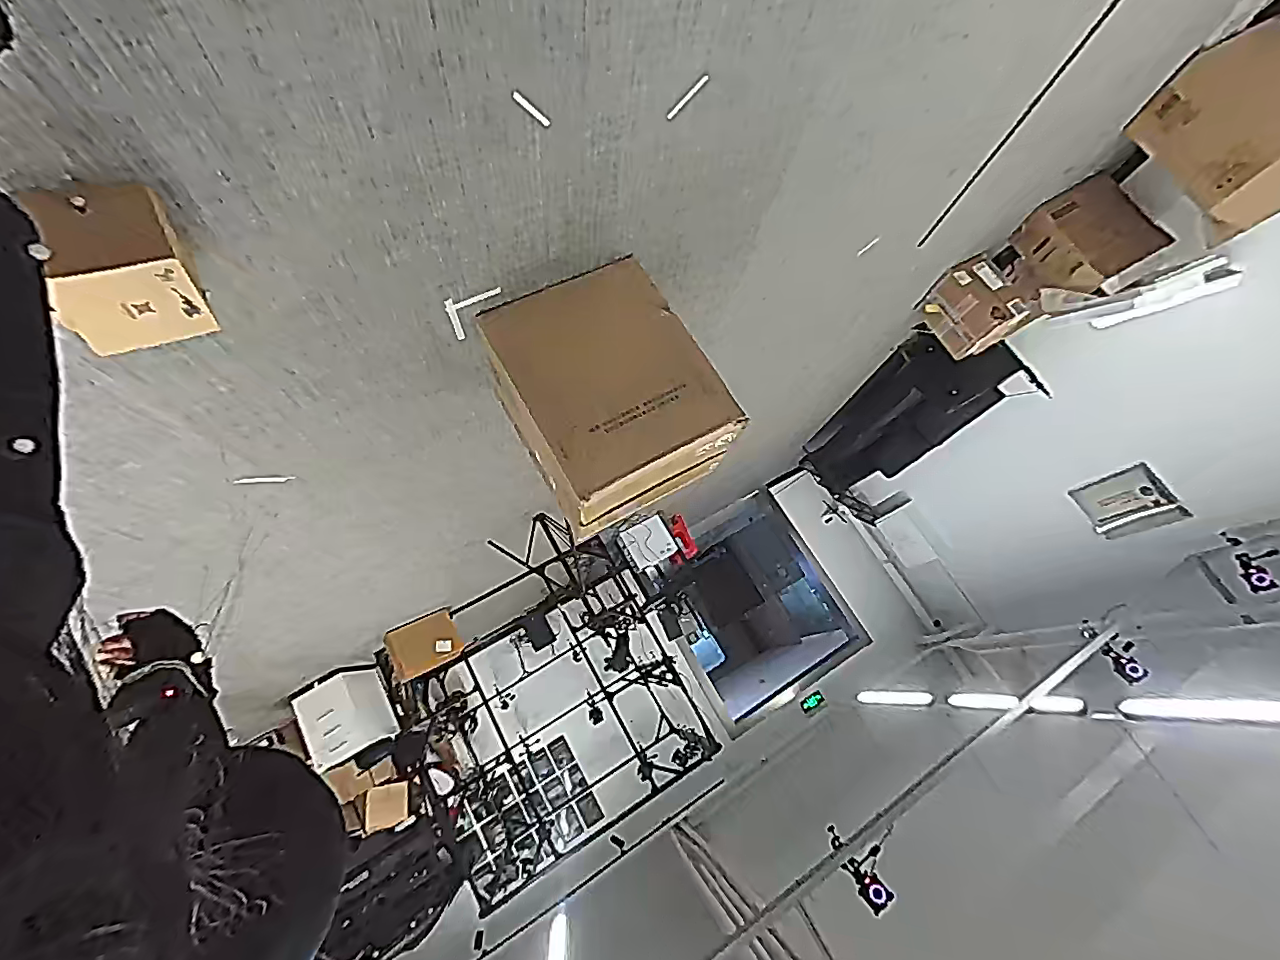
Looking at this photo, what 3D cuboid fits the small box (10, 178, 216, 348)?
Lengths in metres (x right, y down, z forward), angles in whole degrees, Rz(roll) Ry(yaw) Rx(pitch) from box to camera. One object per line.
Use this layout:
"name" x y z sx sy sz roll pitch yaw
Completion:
"small box" -0.819 -0.341 0.848 0.179 0.176 0.168 -23 164 -26
